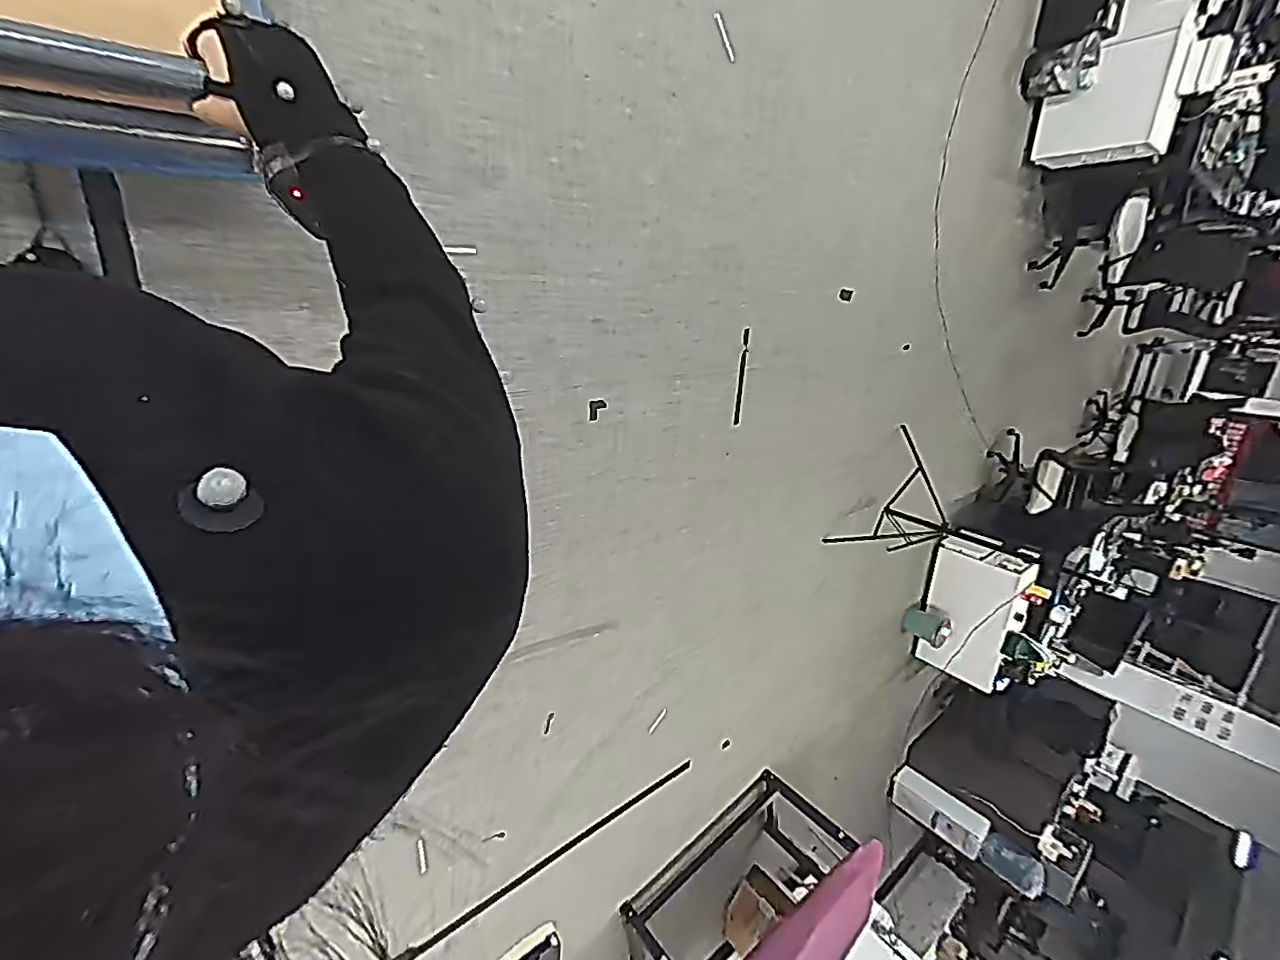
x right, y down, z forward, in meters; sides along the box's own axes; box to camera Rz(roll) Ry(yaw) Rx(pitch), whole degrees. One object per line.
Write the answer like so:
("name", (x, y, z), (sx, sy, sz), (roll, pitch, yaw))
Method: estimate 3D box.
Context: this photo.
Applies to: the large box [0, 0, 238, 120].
("large box", (-0.787, -0.684, 0.664), (0.408, 0.320, 0.320), (-15, 116, -37))
